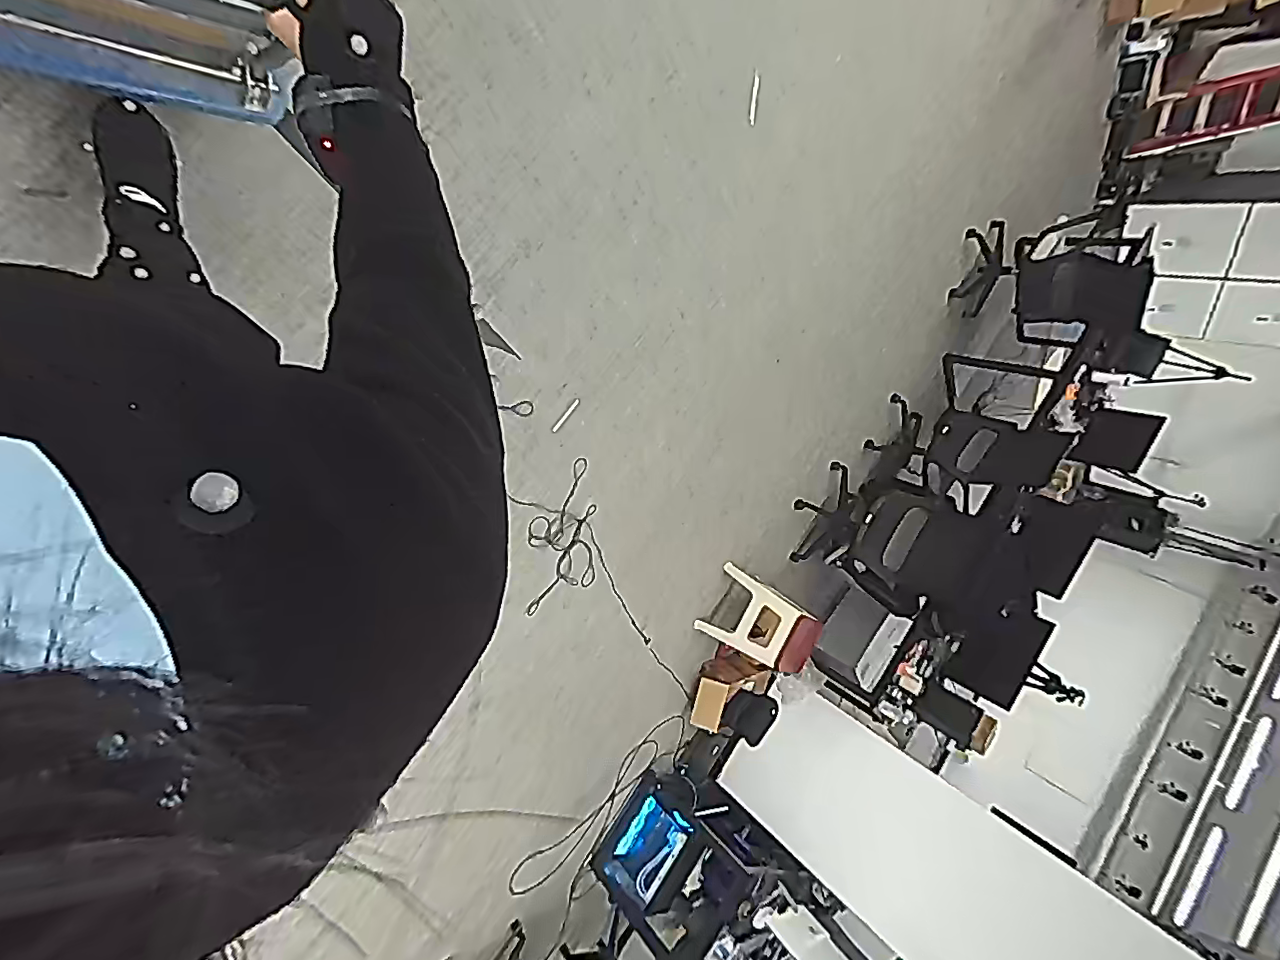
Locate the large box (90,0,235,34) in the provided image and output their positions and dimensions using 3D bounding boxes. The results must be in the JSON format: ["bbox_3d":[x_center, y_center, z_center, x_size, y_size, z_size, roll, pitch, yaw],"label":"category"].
[{"bbox_3d":[-0.737,-0.796,0.616,0.408,0.320,0.320,-13,118,-42],"label":"large box"}]
